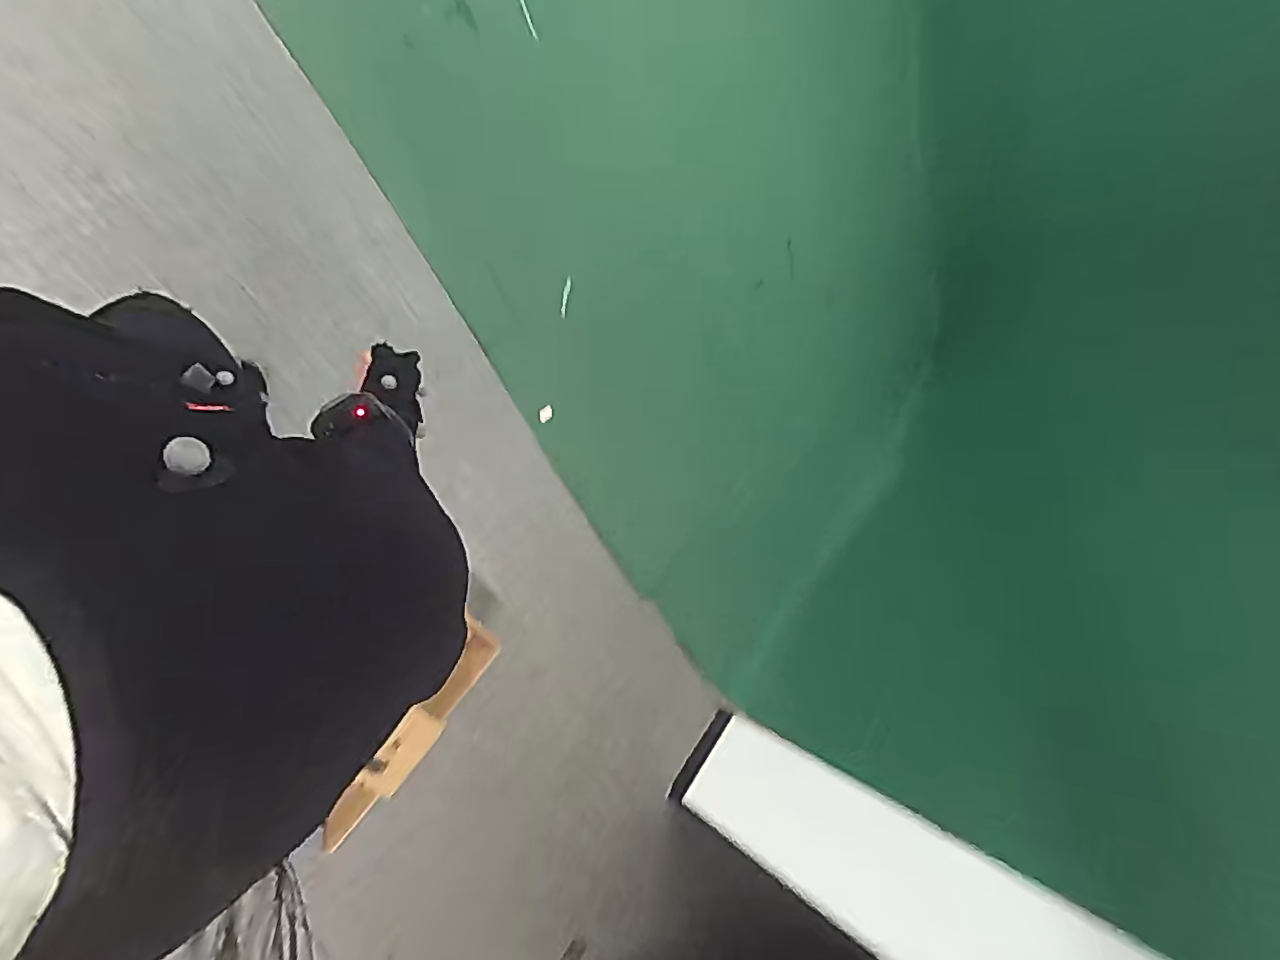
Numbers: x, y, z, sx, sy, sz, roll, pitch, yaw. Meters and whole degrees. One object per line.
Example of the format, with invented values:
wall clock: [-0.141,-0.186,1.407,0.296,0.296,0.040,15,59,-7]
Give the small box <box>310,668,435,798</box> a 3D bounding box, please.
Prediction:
small box: [-0.609,0.564,1.220,0.179,0.176,0.168,-50,130,-25]
